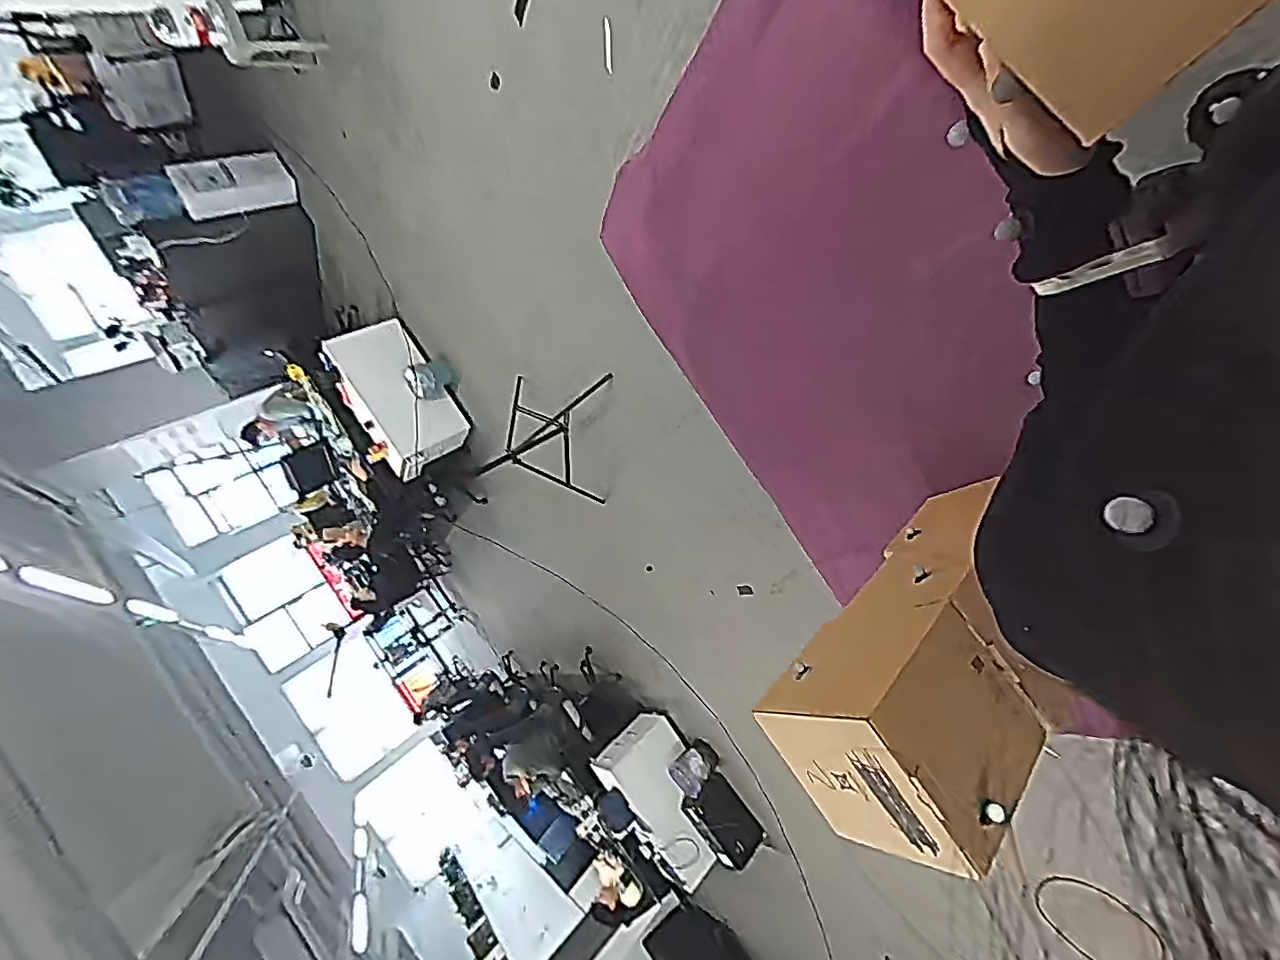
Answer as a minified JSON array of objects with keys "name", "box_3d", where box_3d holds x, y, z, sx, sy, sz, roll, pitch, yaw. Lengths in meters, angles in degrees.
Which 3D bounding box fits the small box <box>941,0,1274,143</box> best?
[{"name":"small box","box_3d":[0.222,-0.297,0.229,0.179,0.176,0.168,41,144,-5]}]

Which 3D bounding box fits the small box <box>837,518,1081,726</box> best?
[{"name":"small box","box_3d":[0.386,0.170,0.653,0.168,0.176,0.179,53,148,5]}]

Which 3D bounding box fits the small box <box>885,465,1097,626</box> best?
[{"name":"small box","box_3d":[0.494,0.102,0.757,0.168,0.176,0.179,55,149,1]}]
